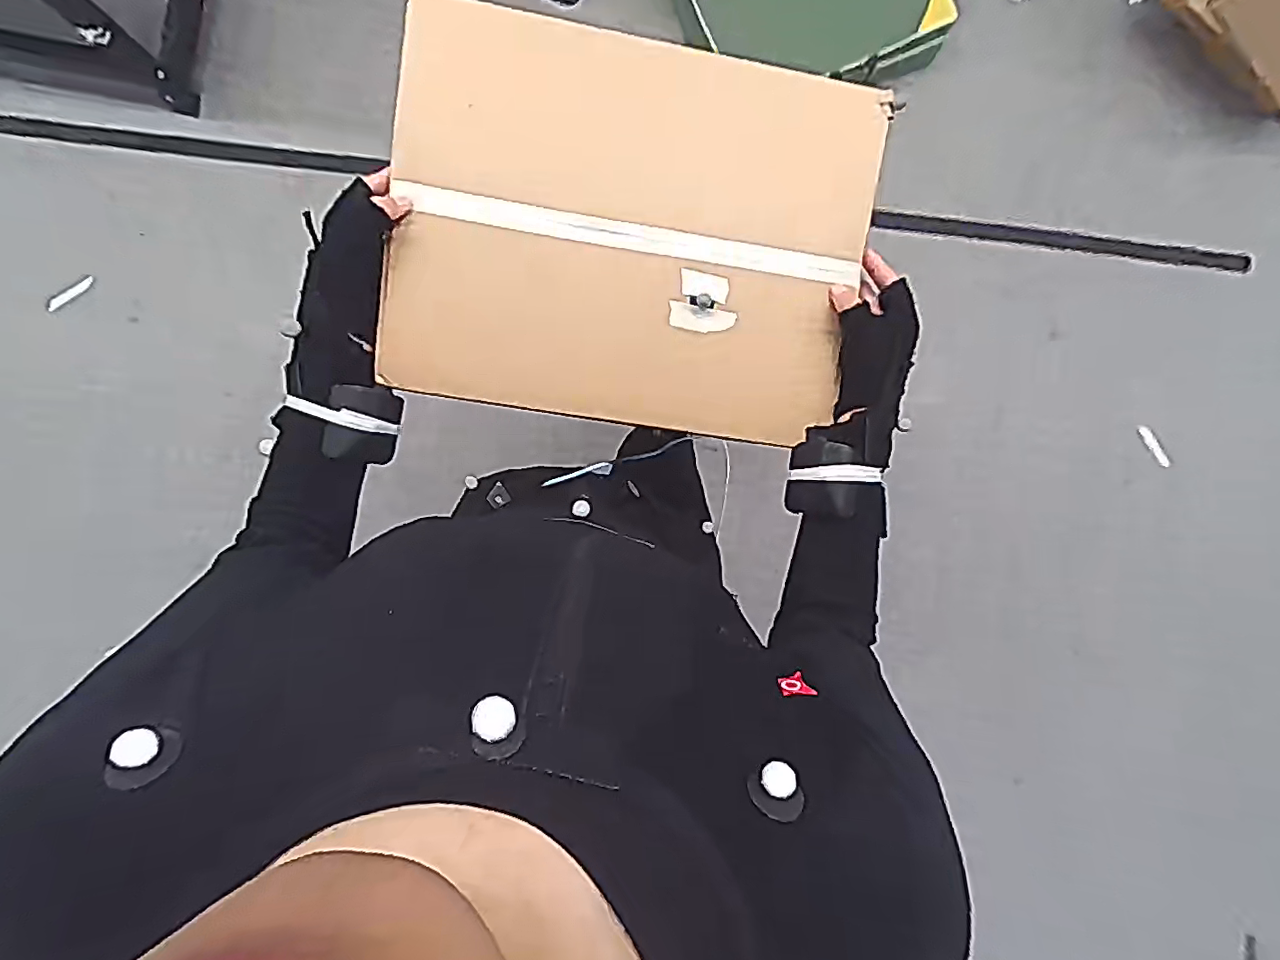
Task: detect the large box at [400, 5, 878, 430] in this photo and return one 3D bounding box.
[{"bbox_3d":[-0.014,-0.238,0.627,0.408,0.320,0.320,7,97,-6],"label":"large box"}]
